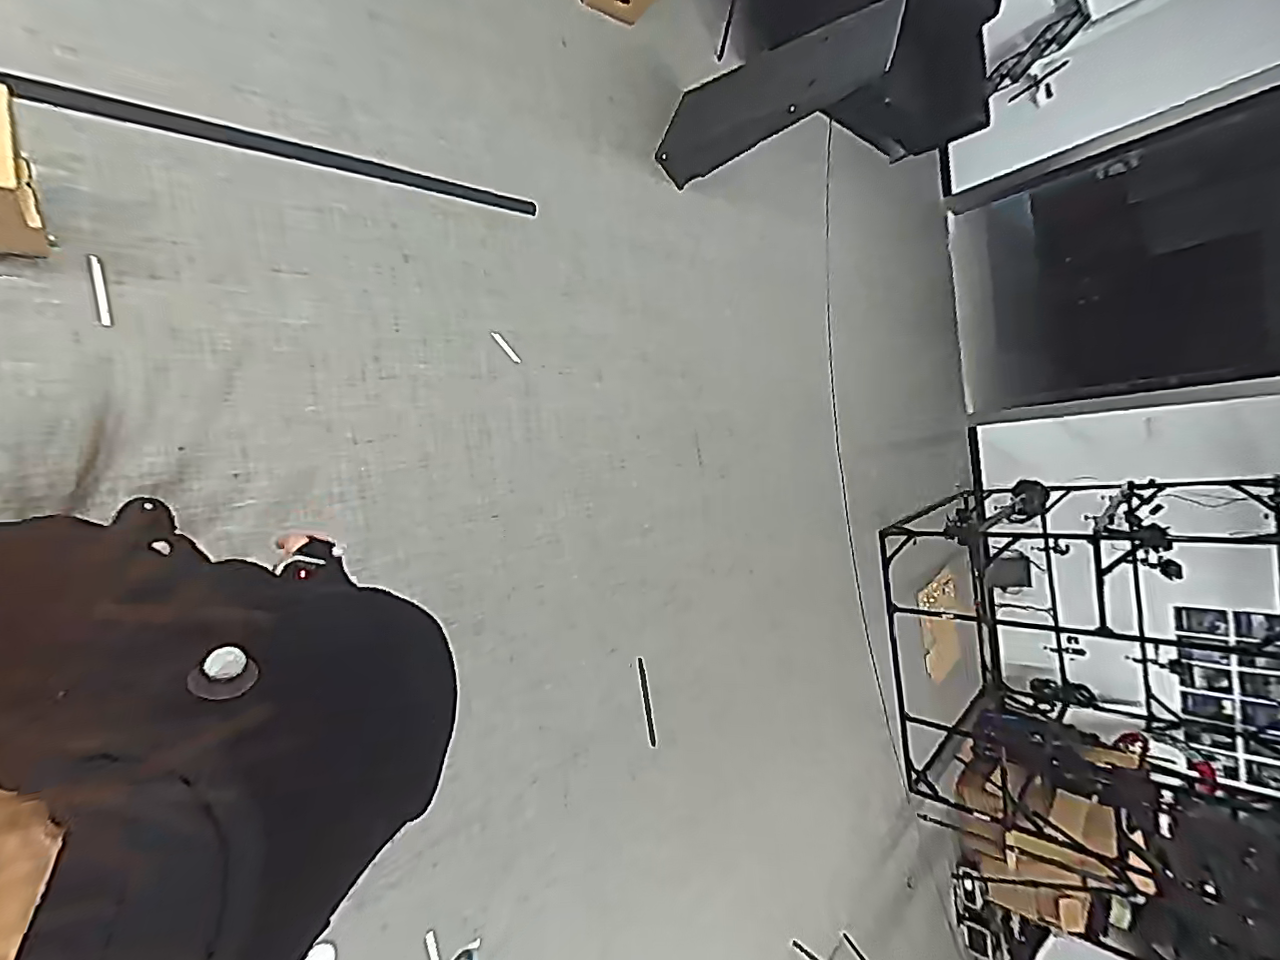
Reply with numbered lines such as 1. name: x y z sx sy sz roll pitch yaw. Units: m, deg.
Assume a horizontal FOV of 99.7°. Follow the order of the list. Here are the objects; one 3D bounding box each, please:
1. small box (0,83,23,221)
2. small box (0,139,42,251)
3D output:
1. small box: -1.171 -0.569 0.905 0.168 0.176 0.179 -5 92 -44
2. small box: -1.280 -0.551 1.026 0.179 0.176 0.168 -12 96 -43
